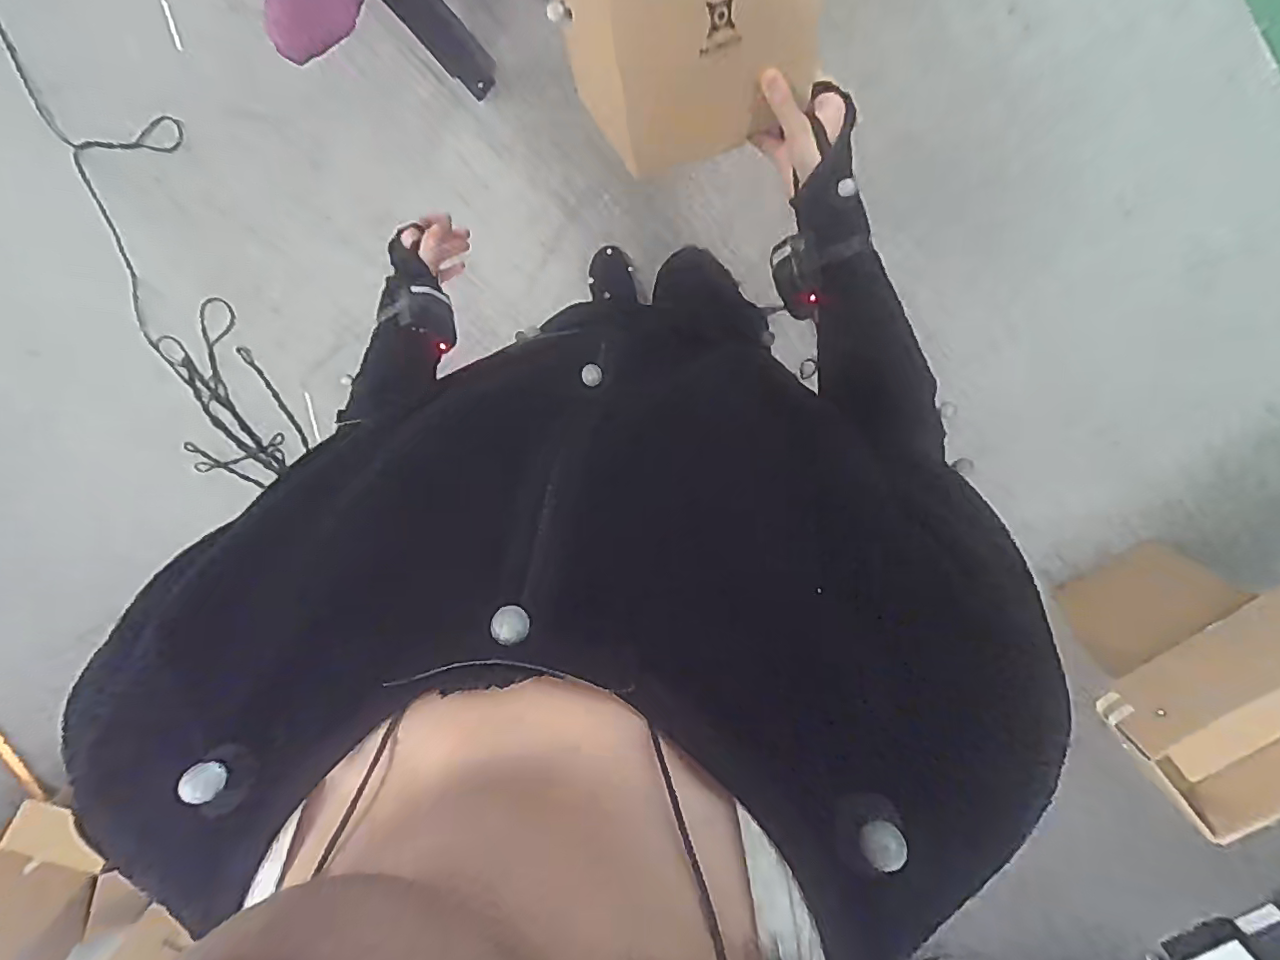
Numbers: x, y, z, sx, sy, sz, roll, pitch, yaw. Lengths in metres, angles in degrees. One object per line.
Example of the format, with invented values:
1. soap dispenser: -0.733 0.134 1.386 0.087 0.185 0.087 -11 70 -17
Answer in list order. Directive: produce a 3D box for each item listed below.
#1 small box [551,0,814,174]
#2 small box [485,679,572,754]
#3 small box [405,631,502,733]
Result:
1. small box: 0.024 -0.396 0.433 0.168 0.176 0.179 -23 151 -3
2. small box: -0.312 0.716 1.564 0.168 0.176 0.179 -26 108 10
3. small box: -0.508 0.554 1.499 0.179 0.176 0.168 32 107 -12
